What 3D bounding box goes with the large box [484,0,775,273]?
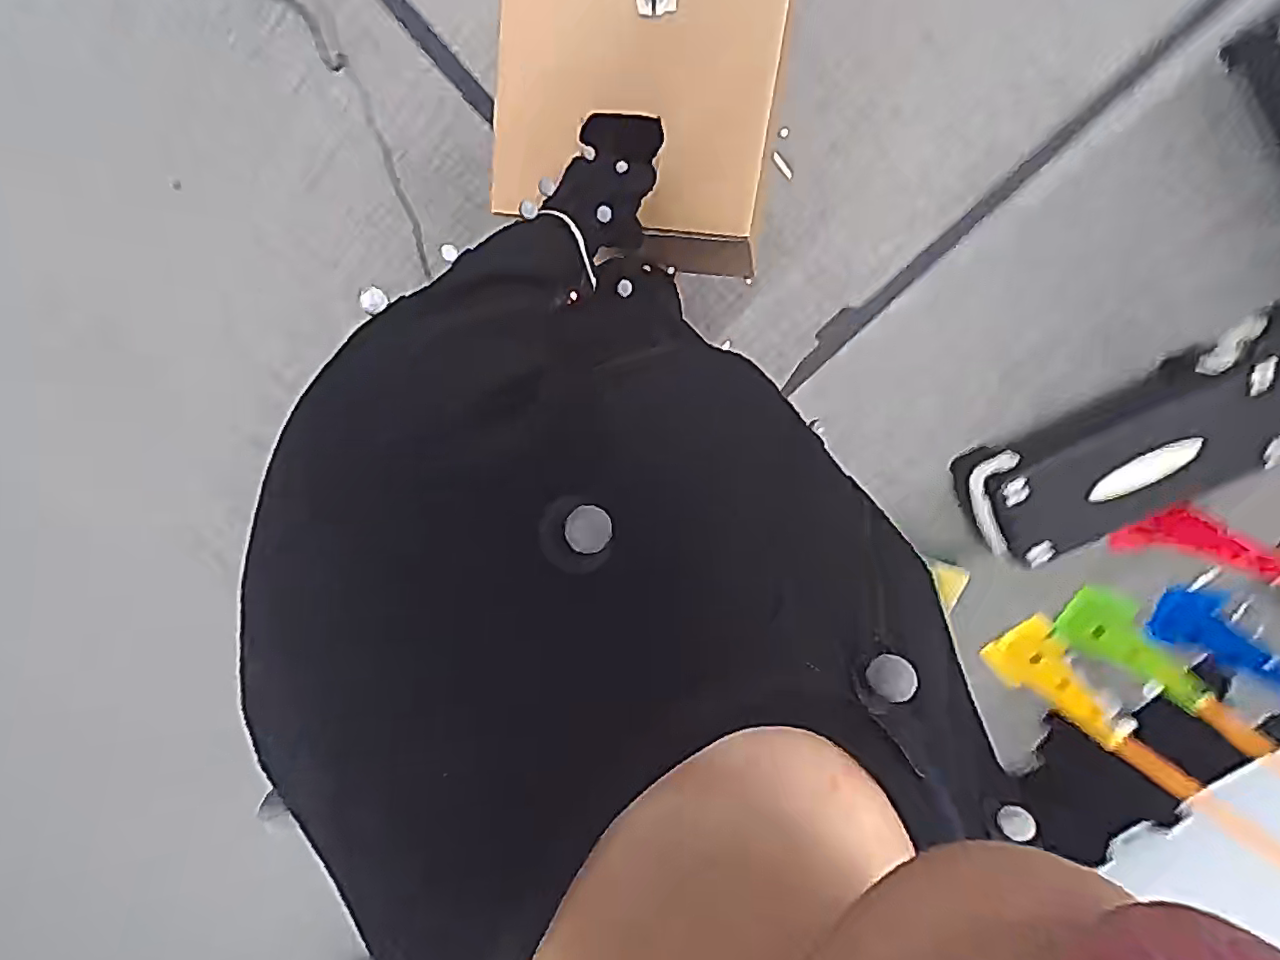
[{"bbox_3d":[0.014,-0.488,0.771,0.320,0.408,0.320,10,108,11],"label":"large box"}]
